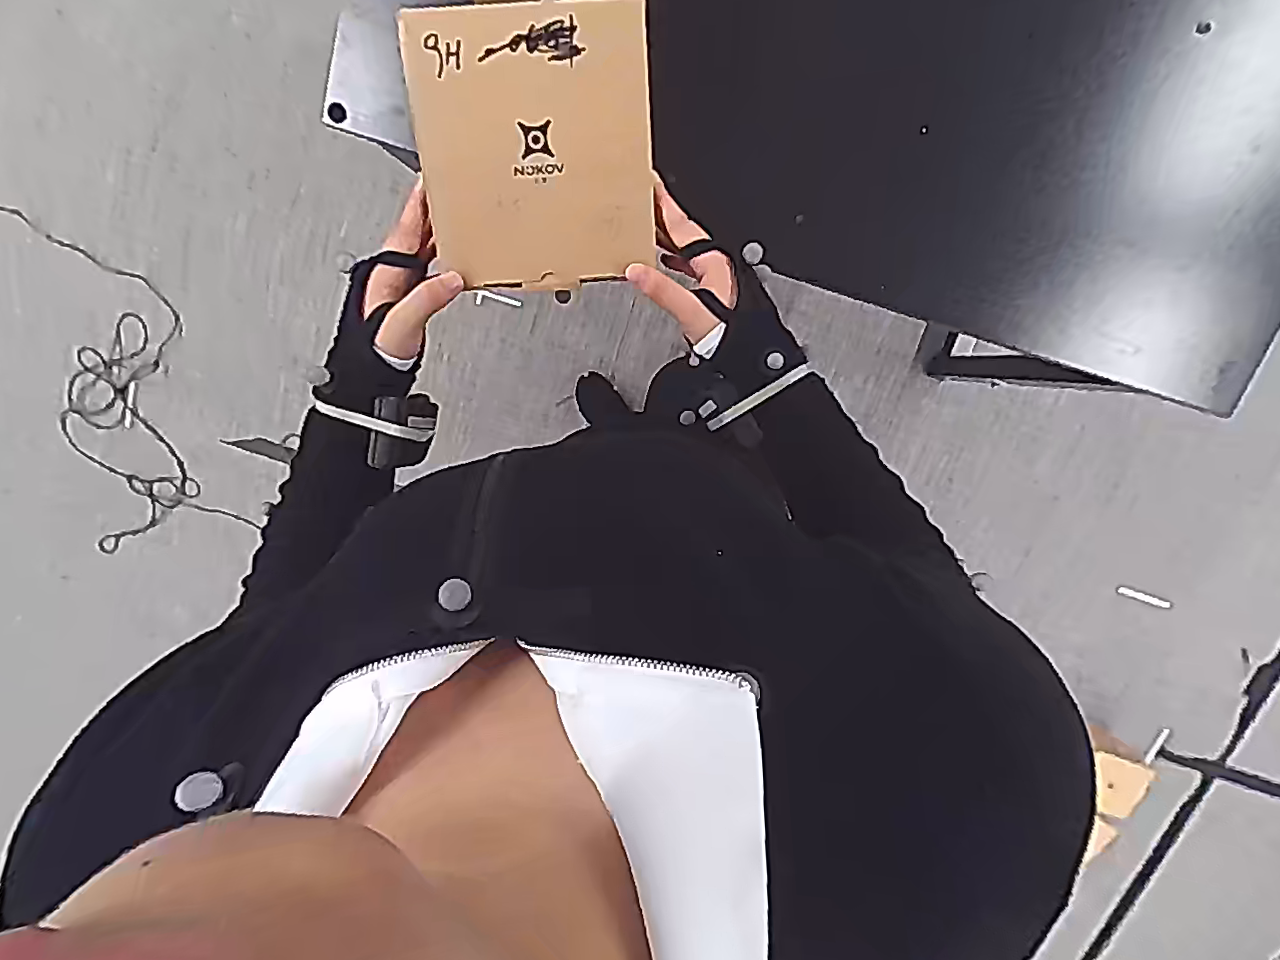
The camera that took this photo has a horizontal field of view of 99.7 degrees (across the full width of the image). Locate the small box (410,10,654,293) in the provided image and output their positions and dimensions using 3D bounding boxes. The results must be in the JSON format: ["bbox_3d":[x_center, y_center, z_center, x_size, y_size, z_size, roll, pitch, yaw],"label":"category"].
[{"bbox_3d":[-0.073,-0.262,0.470,0.168,0.176,0.179,-3,111,0],"label":"small box"}]
